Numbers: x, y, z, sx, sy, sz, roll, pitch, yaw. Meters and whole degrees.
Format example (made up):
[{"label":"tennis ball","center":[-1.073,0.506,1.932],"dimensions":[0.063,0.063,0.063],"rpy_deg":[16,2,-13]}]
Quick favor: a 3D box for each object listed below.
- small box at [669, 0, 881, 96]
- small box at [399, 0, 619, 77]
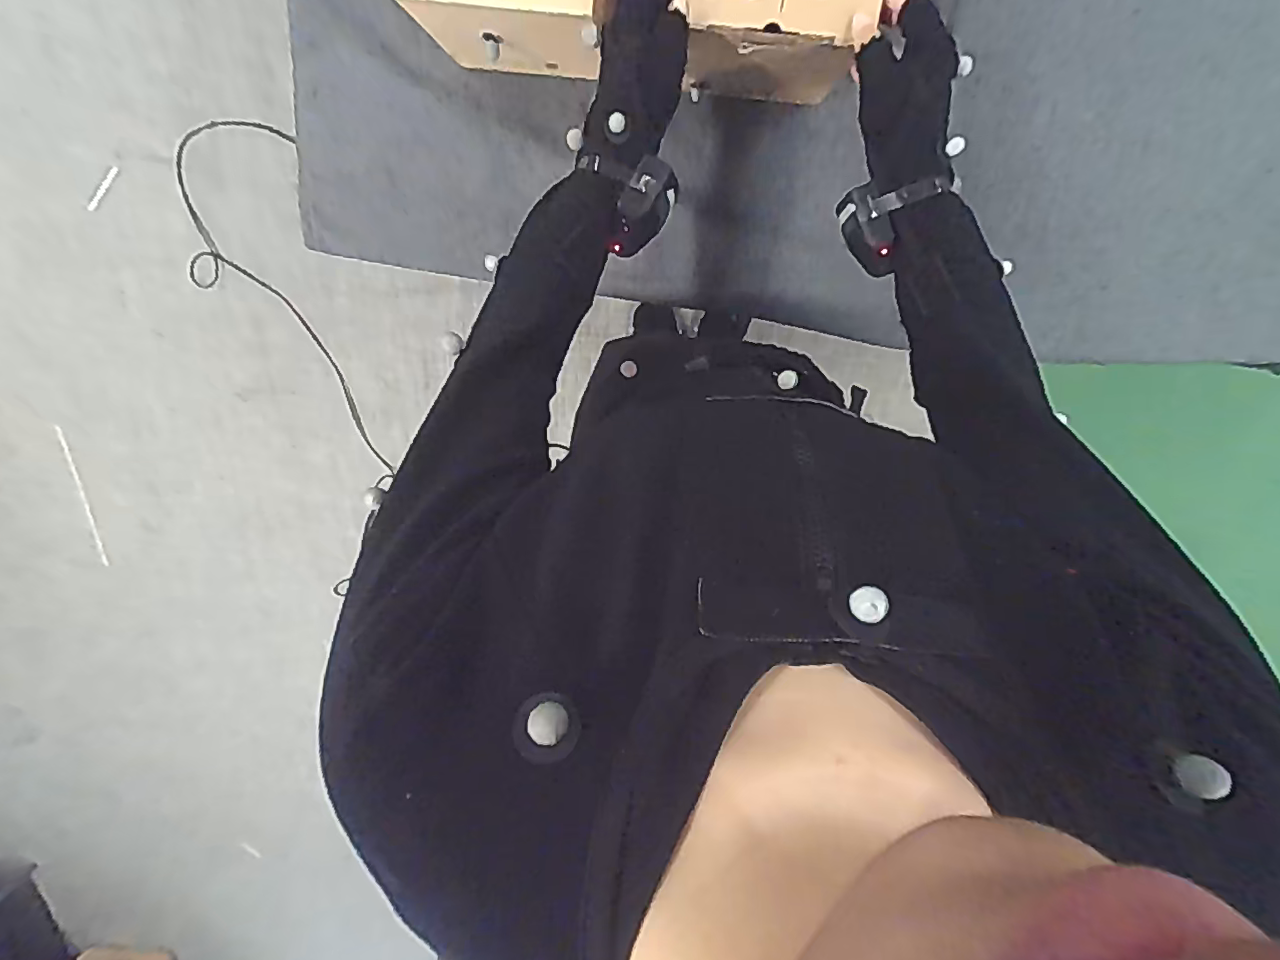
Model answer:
[{"label":"small box","center":[0.118,-0.463,0.471],"dimensions":[0.168,0.176,0.179],"rpy_deg":[6,111,1]},{"label":"small box","center":[-0.105,-0.487,0.475],"dimensions":[0.168,0.176,0.179],"rpy_deg":[6,111,1]}]
